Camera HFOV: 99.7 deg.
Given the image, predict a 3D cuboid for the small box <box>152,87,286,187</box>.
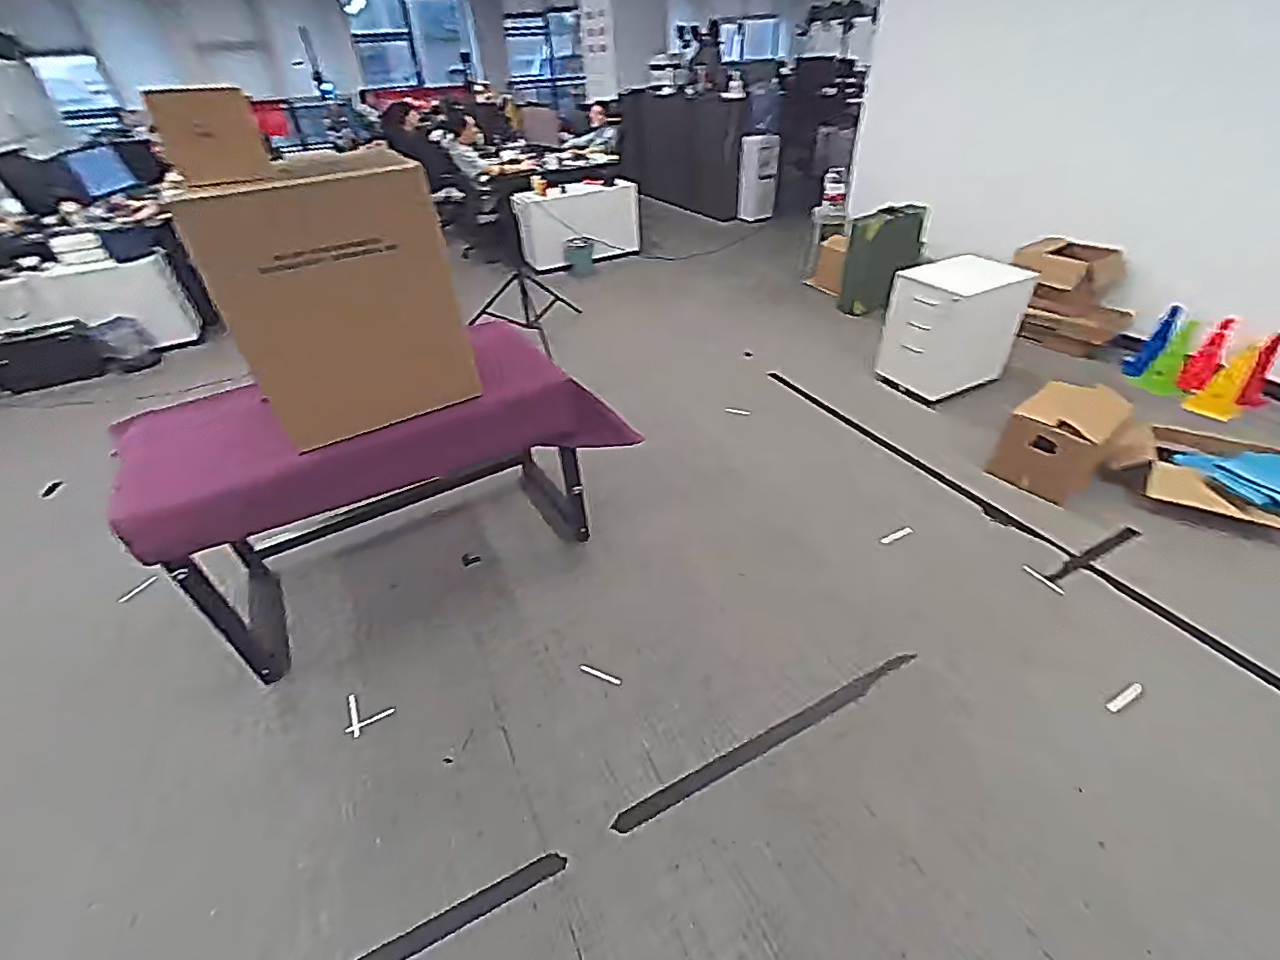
[{"bbox_3d":[-0.916,-0.758,1.193,0.179,0.176,0.168,-21,43,-22],"label":"small box"}]
